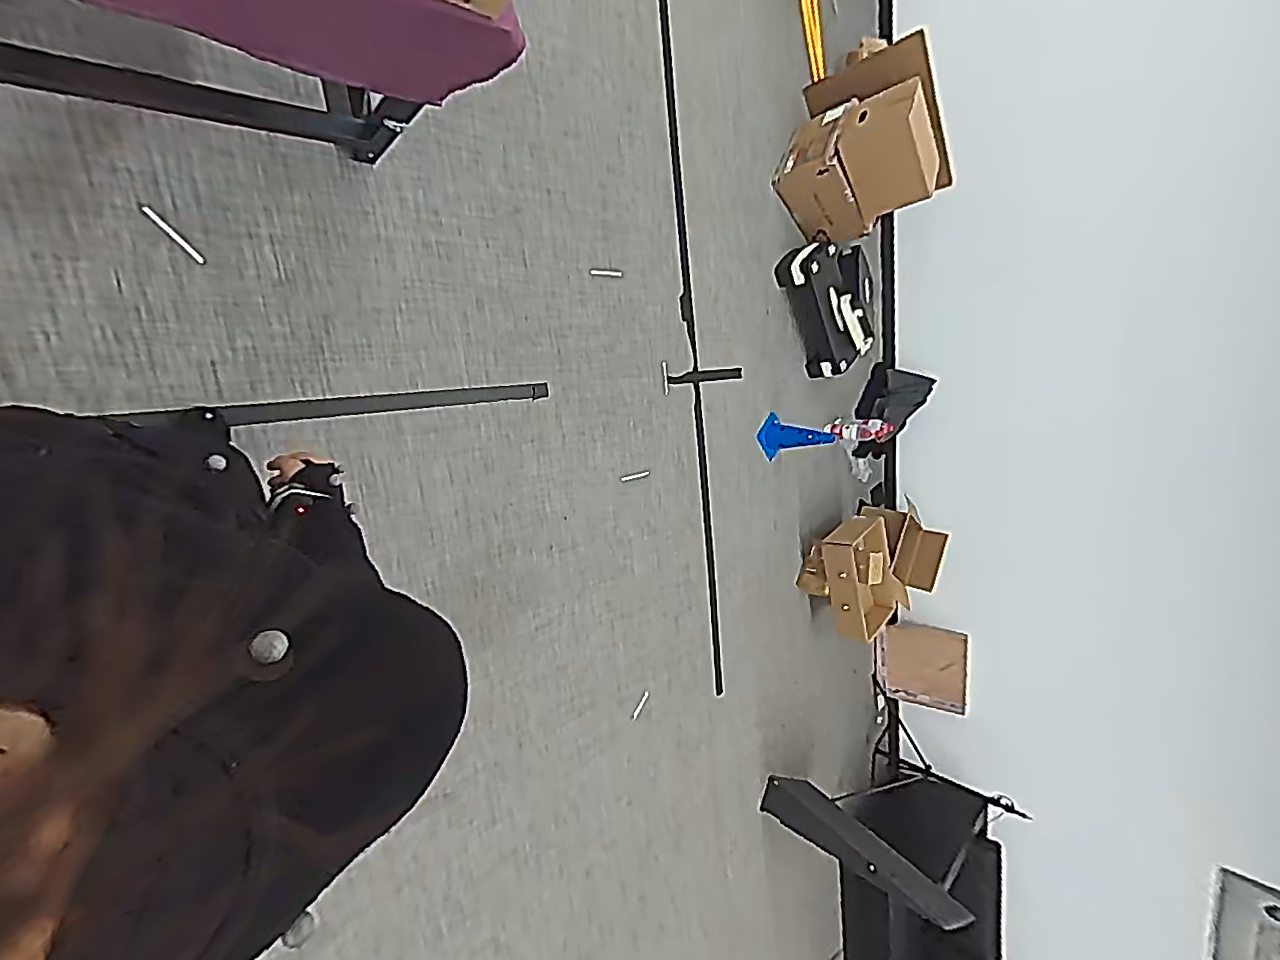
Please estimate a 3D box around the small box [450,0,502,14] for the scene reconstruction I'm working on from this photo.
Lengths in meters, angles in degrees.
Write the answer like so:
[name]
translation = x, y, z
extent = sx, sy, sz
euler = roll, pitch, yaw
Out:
[small box]
translation = -0.273, -0.867, 0.810
extent = 0.168, 0.176, 0.179
euler = -14, 103, -40
